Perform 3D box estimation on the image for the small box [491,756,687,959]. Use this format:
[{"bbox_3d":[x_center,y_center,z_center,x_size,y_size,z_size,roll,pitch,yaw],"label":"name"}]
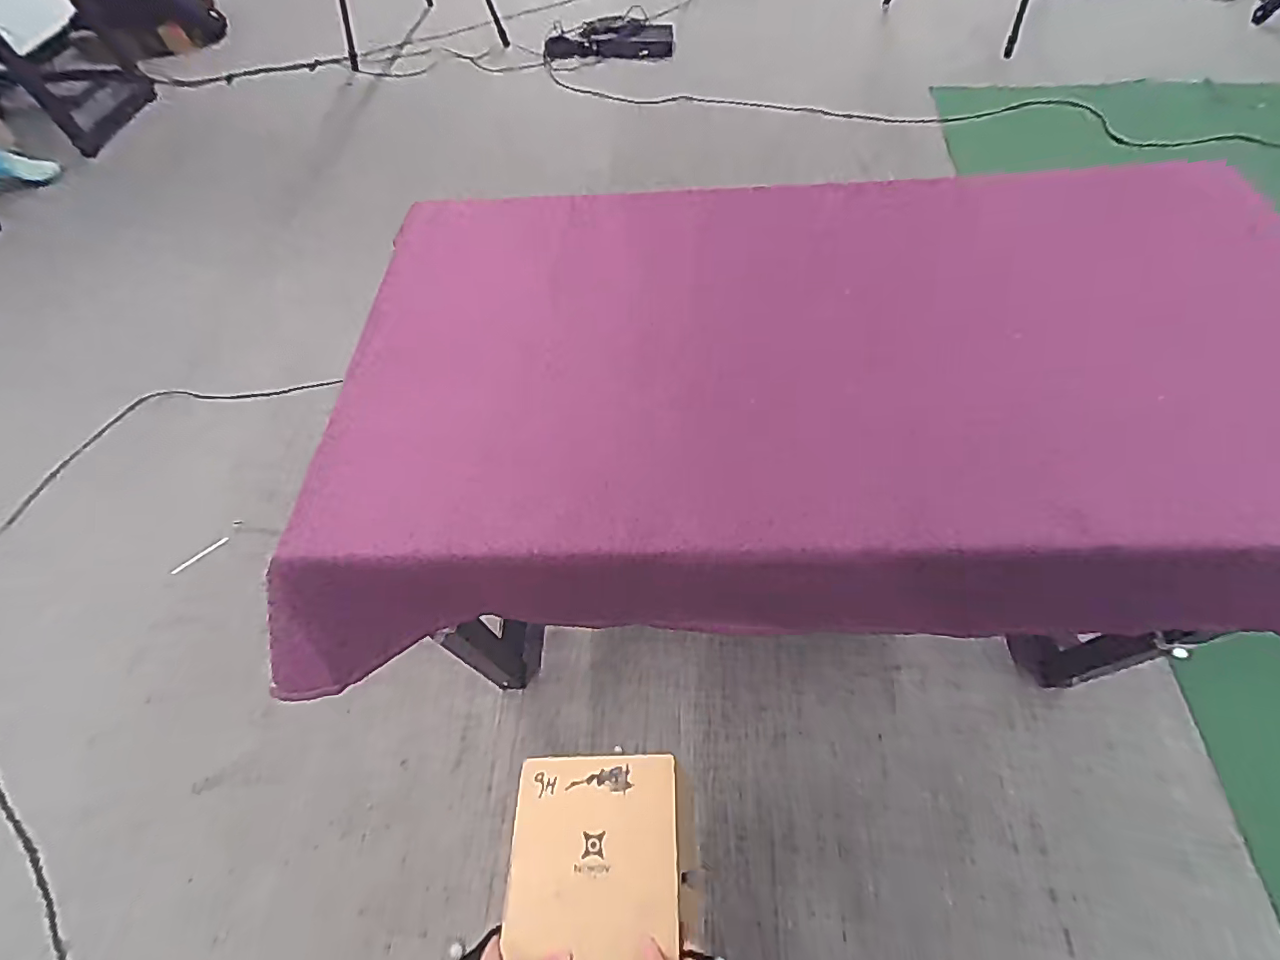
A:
[{"bbox_3d":[-0.040,0.414,0.594,0.168,0.176,0.179,-6,53,10],"label":"small box"}]
